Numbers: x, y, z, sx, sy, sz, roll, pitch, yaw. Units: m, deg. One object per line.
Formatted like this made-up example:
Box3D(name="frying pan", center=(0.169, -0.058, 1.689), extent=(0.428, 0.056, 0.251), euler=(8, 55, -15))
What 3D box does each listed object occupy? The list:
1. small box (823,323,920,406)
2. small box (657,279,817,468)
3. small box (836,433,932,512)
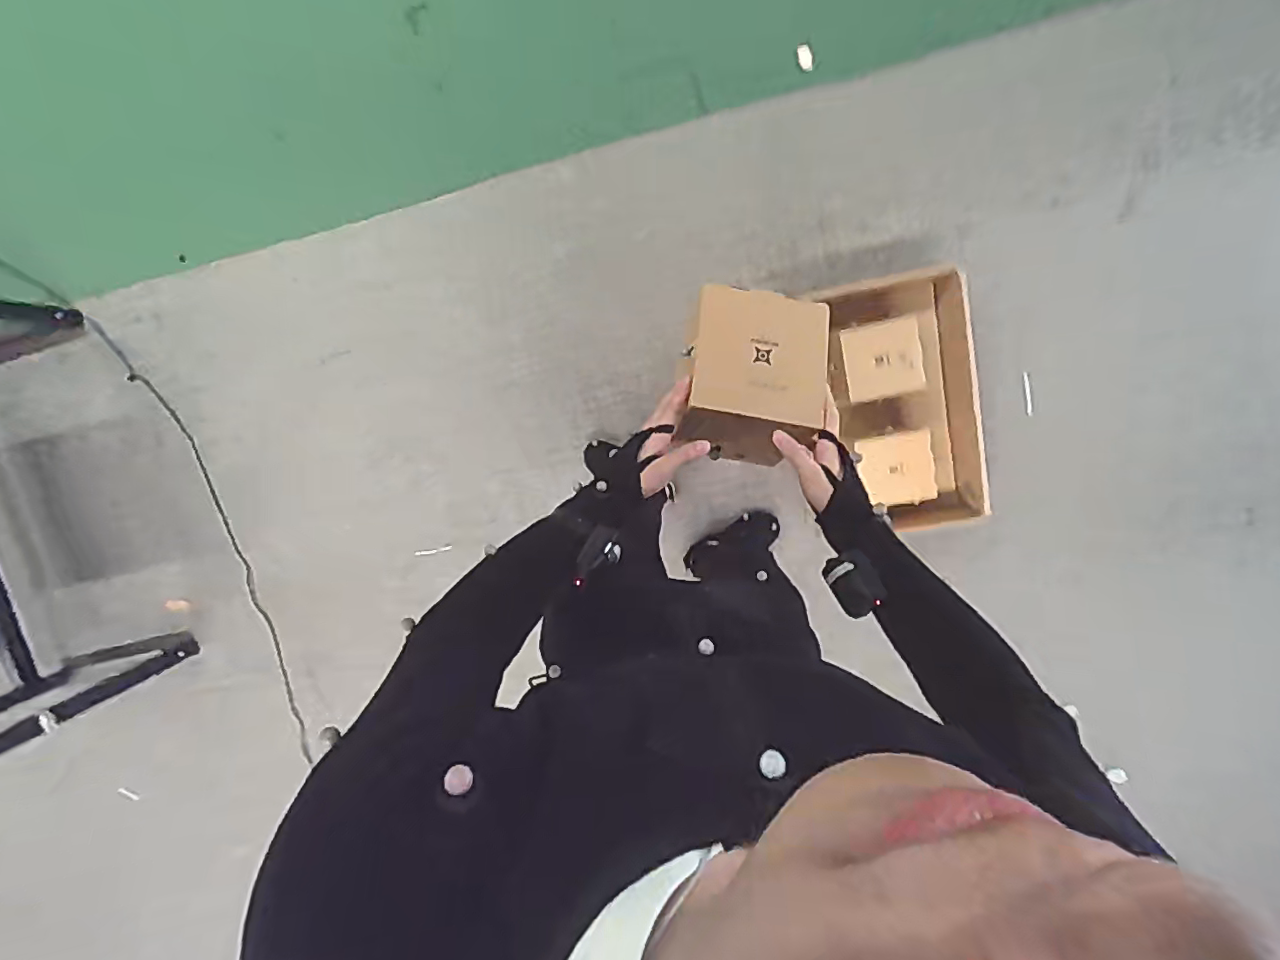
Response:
Box3D(name="small box", center=(0.562, -0.280, 1.337), extent=(0.179, 0.176, 0.168), euler=(-10, 99, 7))
Box3D(name="small box", center=(0.122, -0.133, 0.726), extent=(0.168, 0.176, 0.179), euler=(9, 73, -5))
Box3D(name="small box", center=(0.608, -0.023, 1.370), extent=(0.179, 0.176, 0.168), euler=(-10, 96, 7))
